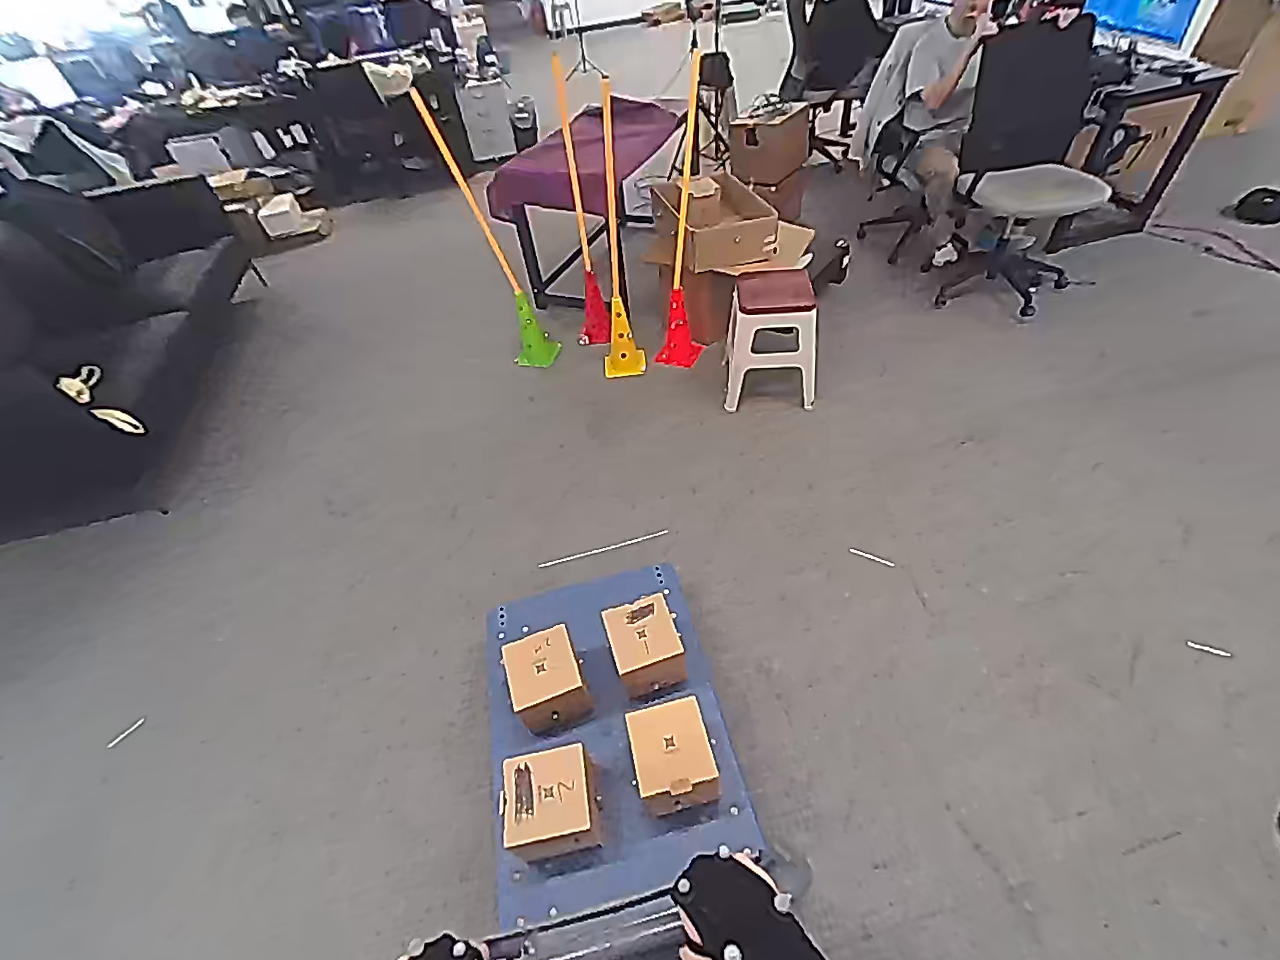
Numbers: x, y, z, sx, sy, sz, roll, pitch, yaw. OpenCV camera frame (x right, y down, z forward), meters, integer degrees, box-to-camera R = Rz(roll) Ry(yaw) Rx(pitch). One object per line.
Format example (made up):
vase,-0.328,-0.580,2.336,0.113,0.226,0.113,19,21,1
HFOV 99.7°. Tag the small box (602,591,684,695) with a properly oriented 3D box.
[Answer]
small box,0.008,0.422,1.394,0.168,0.176,0.179,-17,49,-7

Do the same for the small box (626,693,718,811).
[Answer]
small box,0.069,0.612,1.215,0.168,0.176,0.179,-13,48,-5

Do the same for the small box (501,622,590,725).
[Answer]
small box,-0.235,0.494,1.361,0.168,0.176,0.179,-18,48,-10
